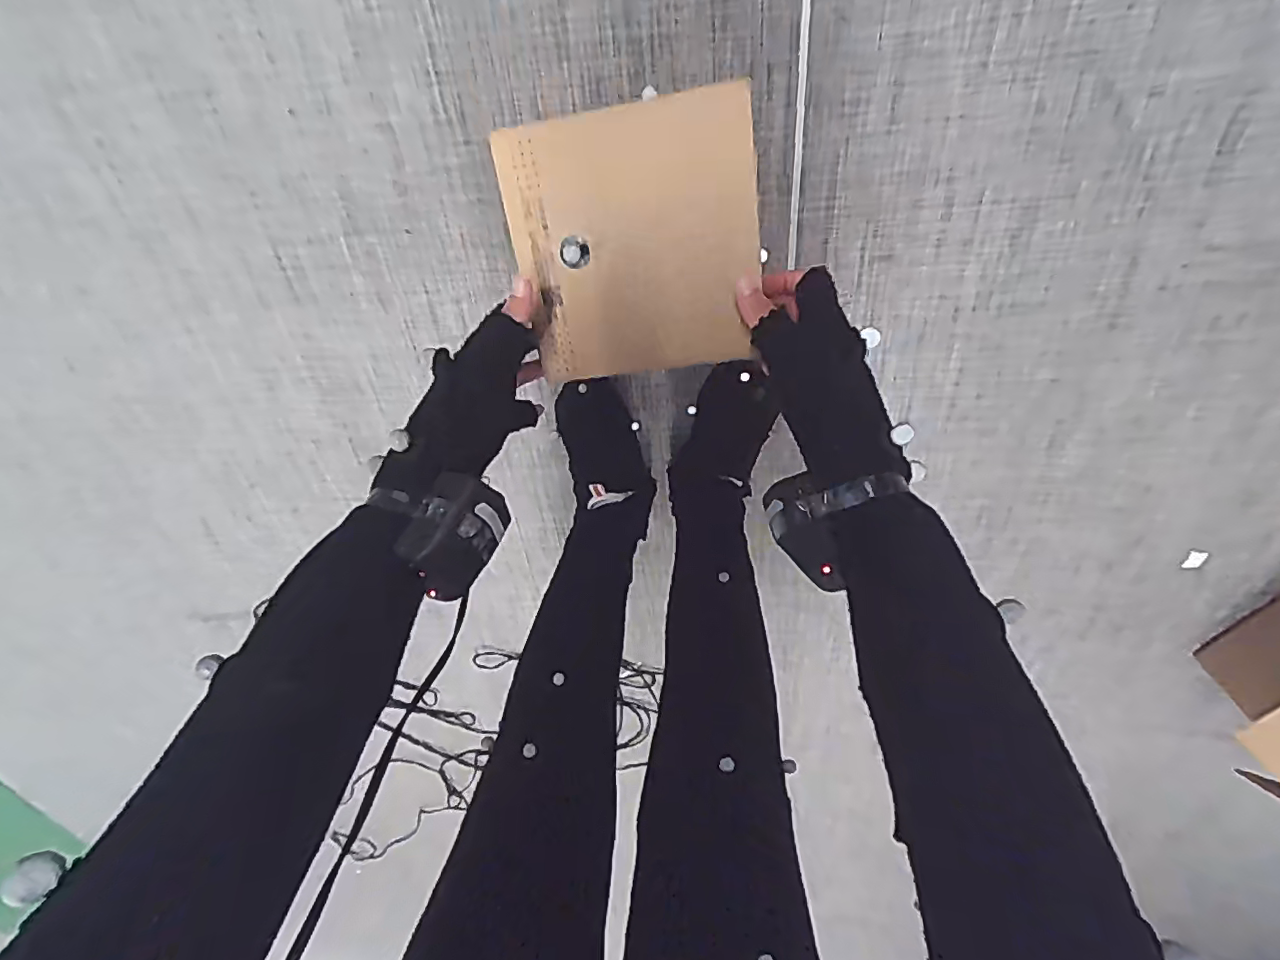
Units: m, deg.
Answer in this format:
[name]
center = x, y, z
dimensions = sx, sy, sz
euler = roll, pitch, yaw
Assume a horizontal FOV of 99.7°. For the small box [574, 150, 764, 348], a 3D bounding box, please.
[small box]
center = 0.041, -0.260, 0.601
dimensions = 0.179, 0.176, 0.168
euler = -3, 122, 10
